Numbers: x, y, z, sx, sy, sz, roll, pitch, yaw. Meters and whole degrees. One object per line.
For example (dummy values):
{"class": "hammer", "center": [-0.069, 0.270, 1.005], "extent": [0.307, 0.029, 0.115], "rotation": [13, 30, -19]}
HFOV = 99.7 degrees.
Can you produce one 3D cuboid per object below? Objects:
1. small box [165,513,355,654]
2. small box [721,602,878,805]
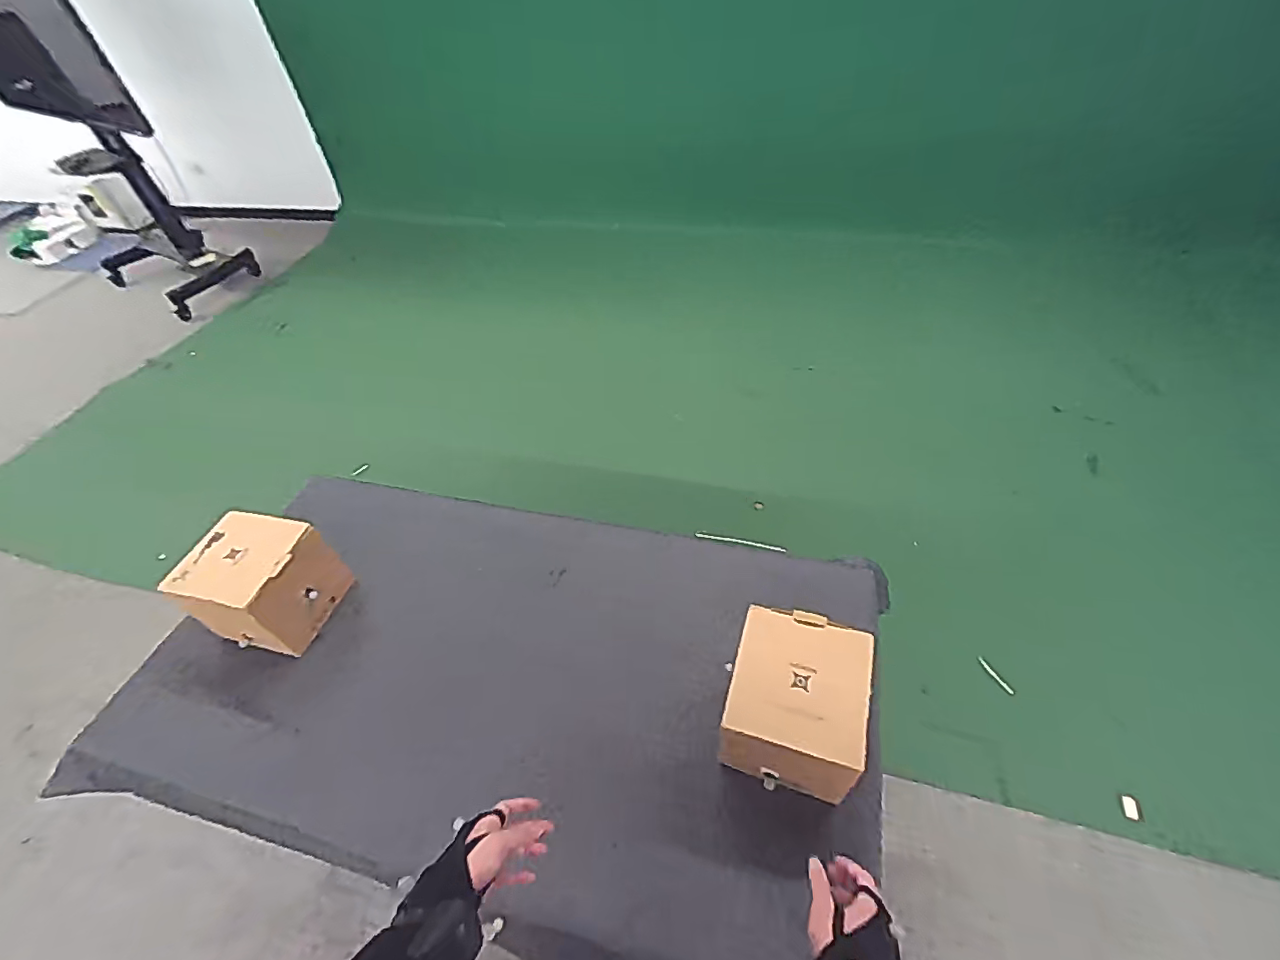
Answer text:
{"class": "small box", "center": [-0.645, 0.185, 0.946], "extent": [0.179, 0.176, 0.168], "rotation": [9, 49, 12]}
{"class": "small box", "center": [0.209, 0.299, 0.727], "extent": [0.168, 0.176, 0.179], "rotation": [12, 50, 19]}
